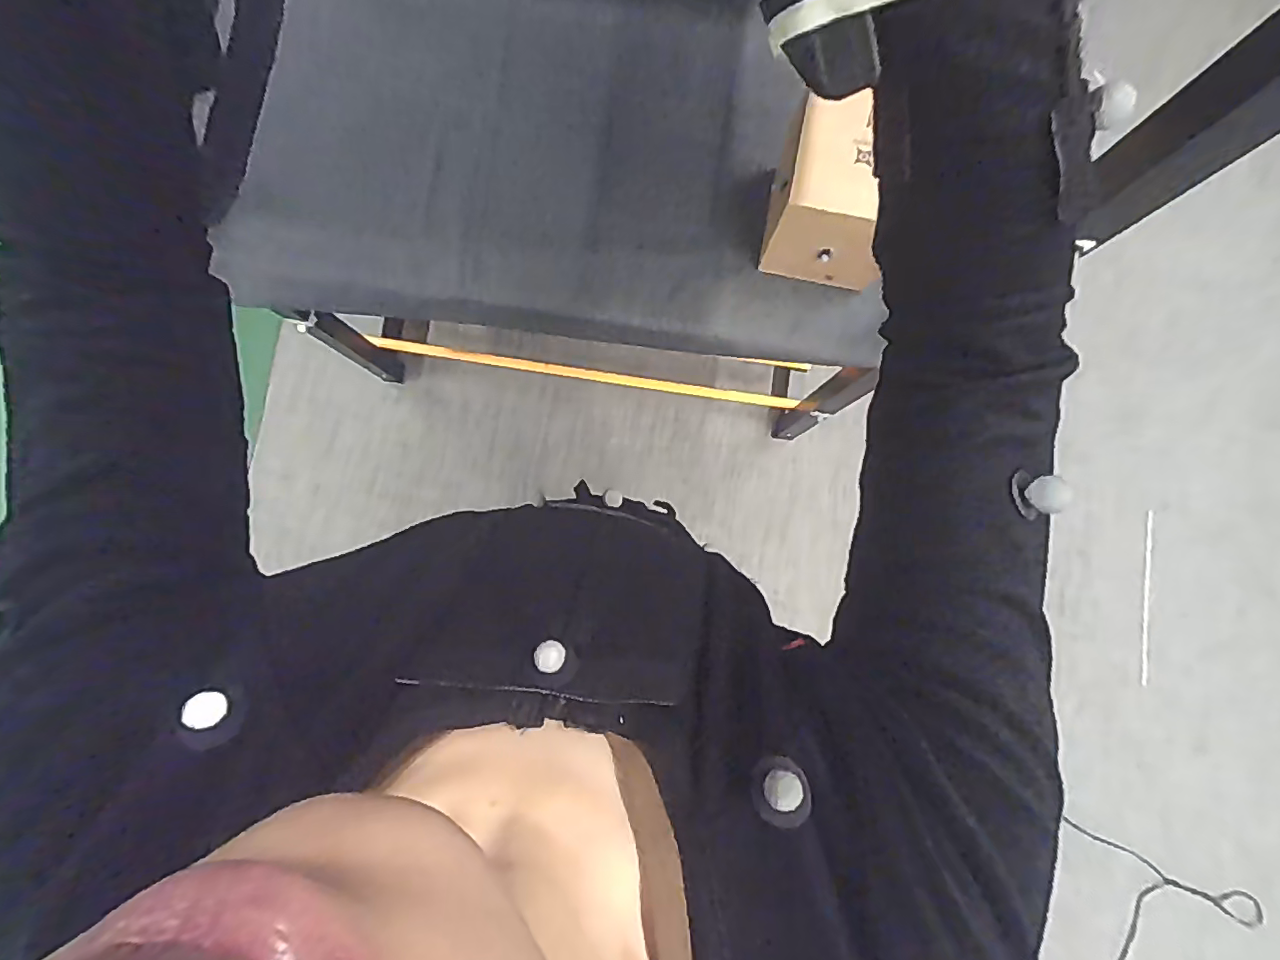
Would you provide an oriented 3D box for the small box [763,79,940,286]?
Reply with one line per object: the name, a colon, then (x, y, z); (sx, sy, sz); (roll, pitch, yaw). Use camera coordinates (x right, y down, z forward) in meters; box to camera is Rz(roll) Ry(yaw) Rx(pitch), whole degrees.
small box: (0.277, -0.395, 0.747); (0.168, 0.176, 0.179); (12, 83, 0)
